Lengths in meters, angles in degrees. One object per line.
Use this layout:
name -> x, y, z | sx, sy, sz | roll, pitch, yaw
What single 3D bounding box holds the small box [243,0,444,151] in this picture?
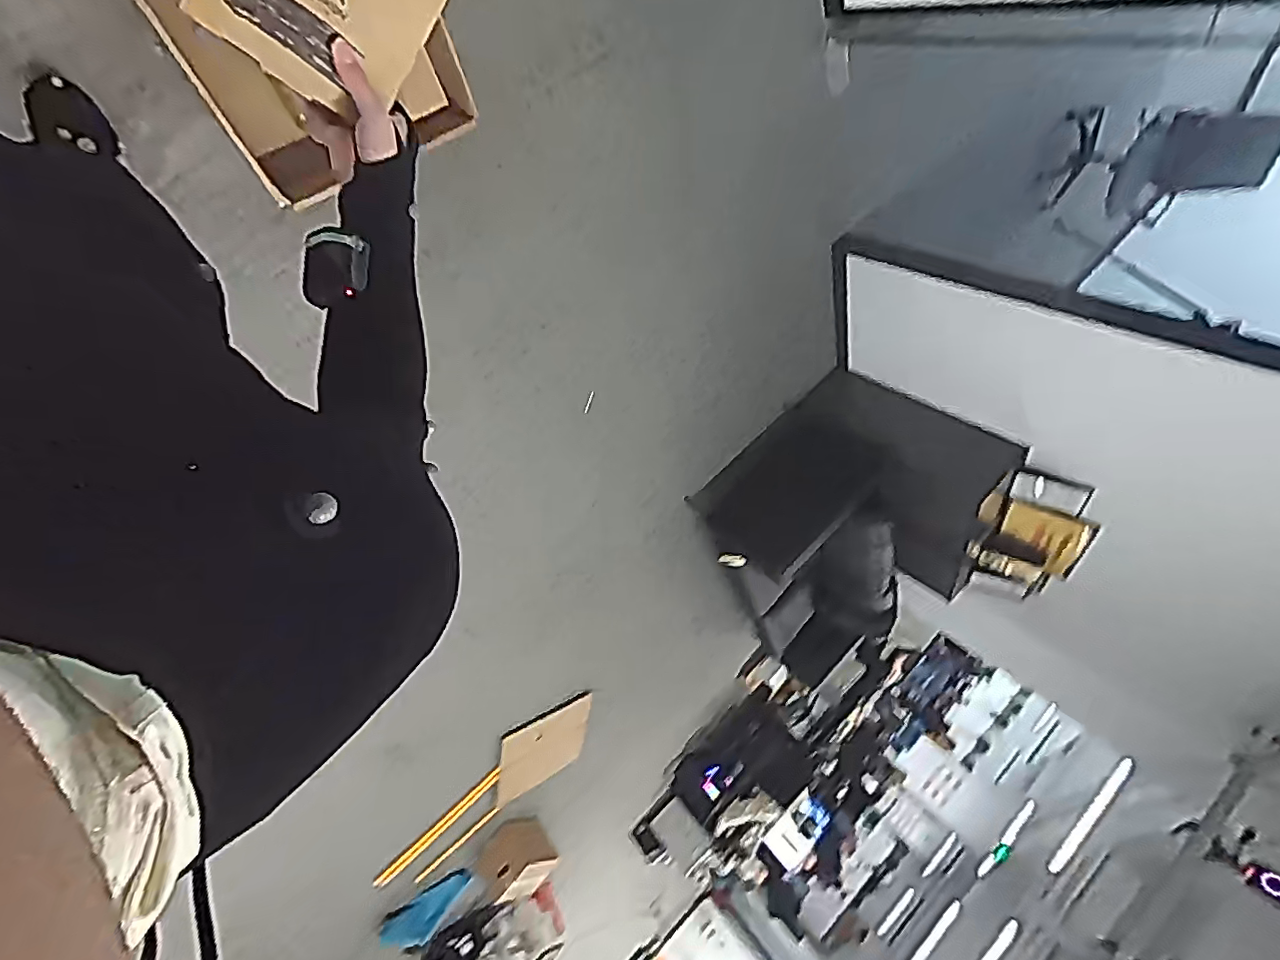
small box -> -0.421, -0.595, 0.766 | 0.179, 0.176, 0.168 | -39, 142, -18
